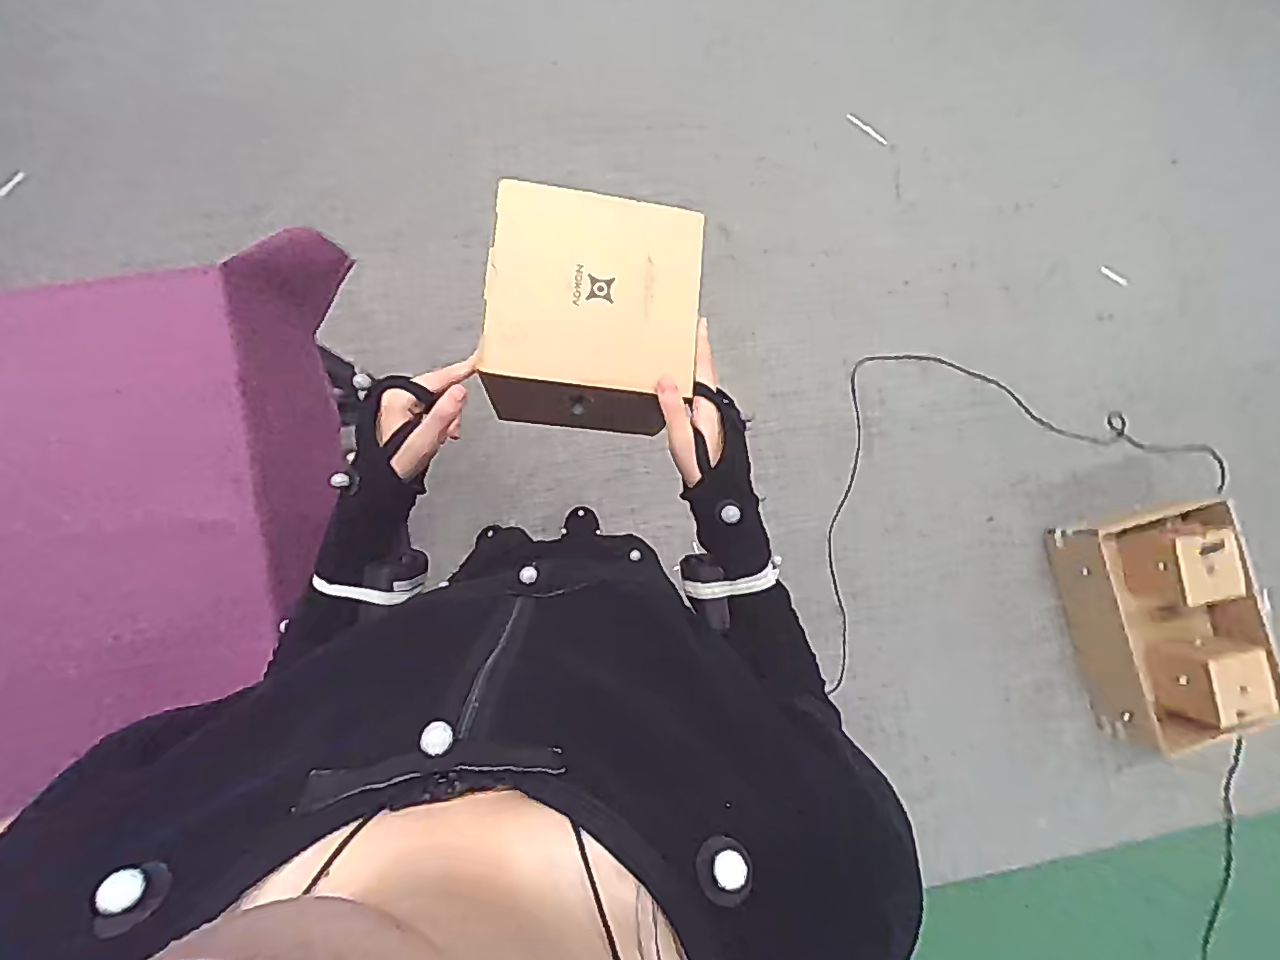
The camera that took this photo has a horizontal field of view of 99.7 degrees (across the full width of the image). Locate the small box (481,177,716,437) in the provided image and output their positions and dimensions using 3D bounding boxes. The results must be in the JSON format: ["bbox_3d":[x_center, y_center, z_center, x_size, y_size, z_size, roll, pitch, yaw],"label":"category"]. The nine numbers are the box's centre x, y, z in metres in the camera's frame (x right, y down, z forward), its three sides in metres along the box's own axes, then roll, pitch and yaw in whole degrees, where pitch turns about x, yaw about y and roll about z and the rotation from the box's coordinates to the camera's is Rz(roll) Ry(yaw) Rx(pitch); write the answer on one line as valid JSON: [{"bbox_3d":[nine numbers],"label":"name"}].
[{"bbox_3d":[-0.042,-0.144,0.514,0.179,0.176,0.168,8,82,-9],"label":"small box"}]

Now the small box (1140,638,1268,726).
[{"bbox_3d":[1.532,0.542,1.482,0.168,0.176,0.179,-10,87,-4],"label":"small box"}]
